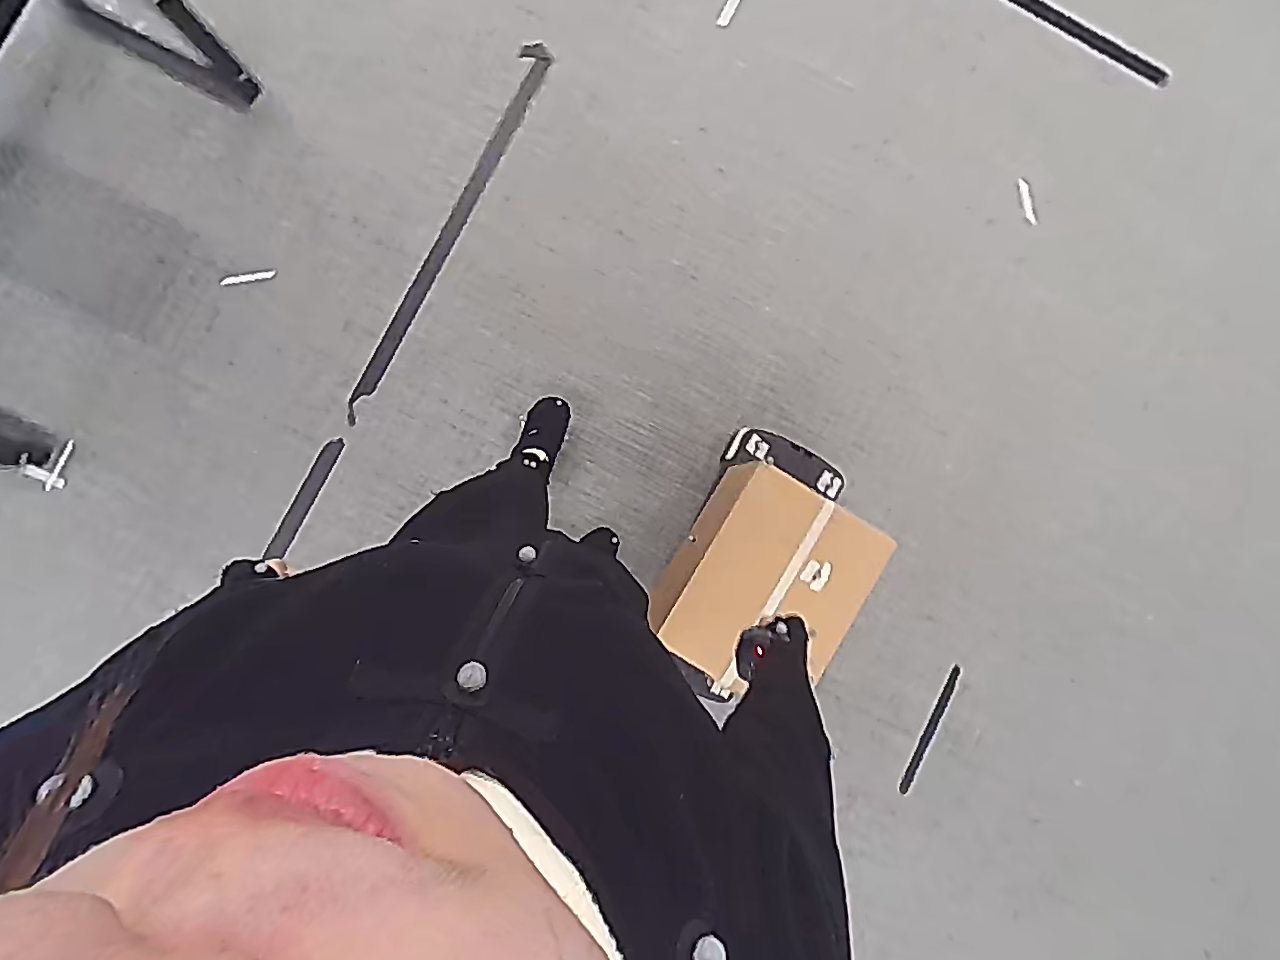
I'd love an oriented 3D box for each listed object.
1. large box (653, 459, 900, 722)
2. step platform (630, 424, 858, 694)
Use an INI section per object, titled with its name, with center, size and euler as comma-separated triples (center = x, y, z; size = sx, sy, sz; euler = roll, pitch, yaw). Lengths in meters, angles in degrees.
[large box]
center = 0.260, 0.214, 1.161
size = 0.320, 0.320, 0.408
euler = 32, 87, -2
[step platform]
center = 0.261, 0.193, 1.400
size = 0.286, 0.204, 0.684
euler = 34, 87, -1
